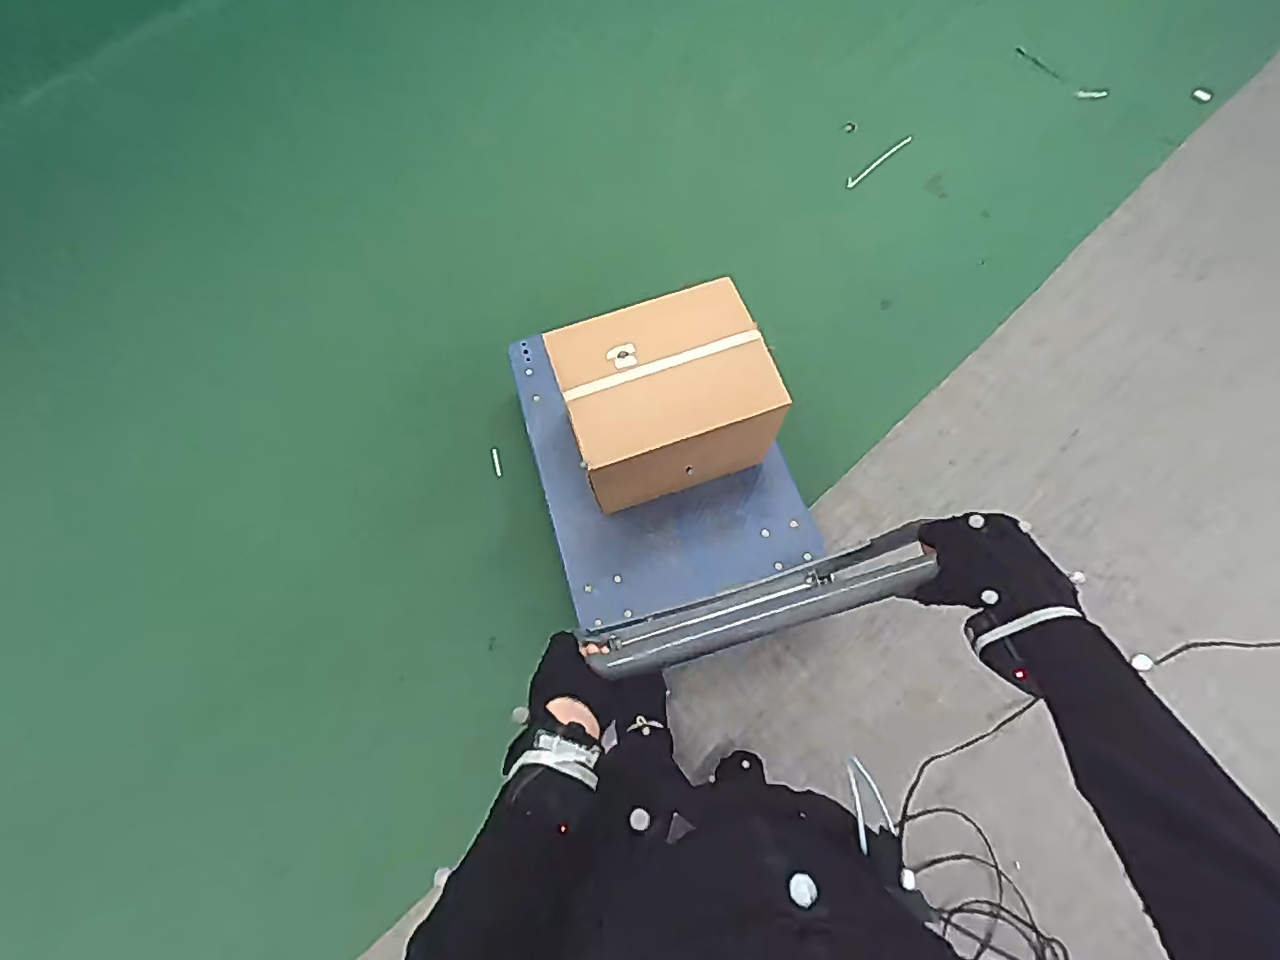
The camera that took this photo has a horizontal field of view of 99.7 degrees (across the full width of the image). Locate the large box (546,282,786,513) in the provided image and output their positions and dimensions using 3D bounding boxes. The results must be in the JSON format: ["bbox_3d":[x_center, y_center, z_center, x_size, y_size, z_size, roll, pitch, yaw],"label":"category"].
[{"bbox_3d":[0.053,-0.164,1.200,0.408,0.320,0.320,-20,71,-4],"label":"large box"}]
